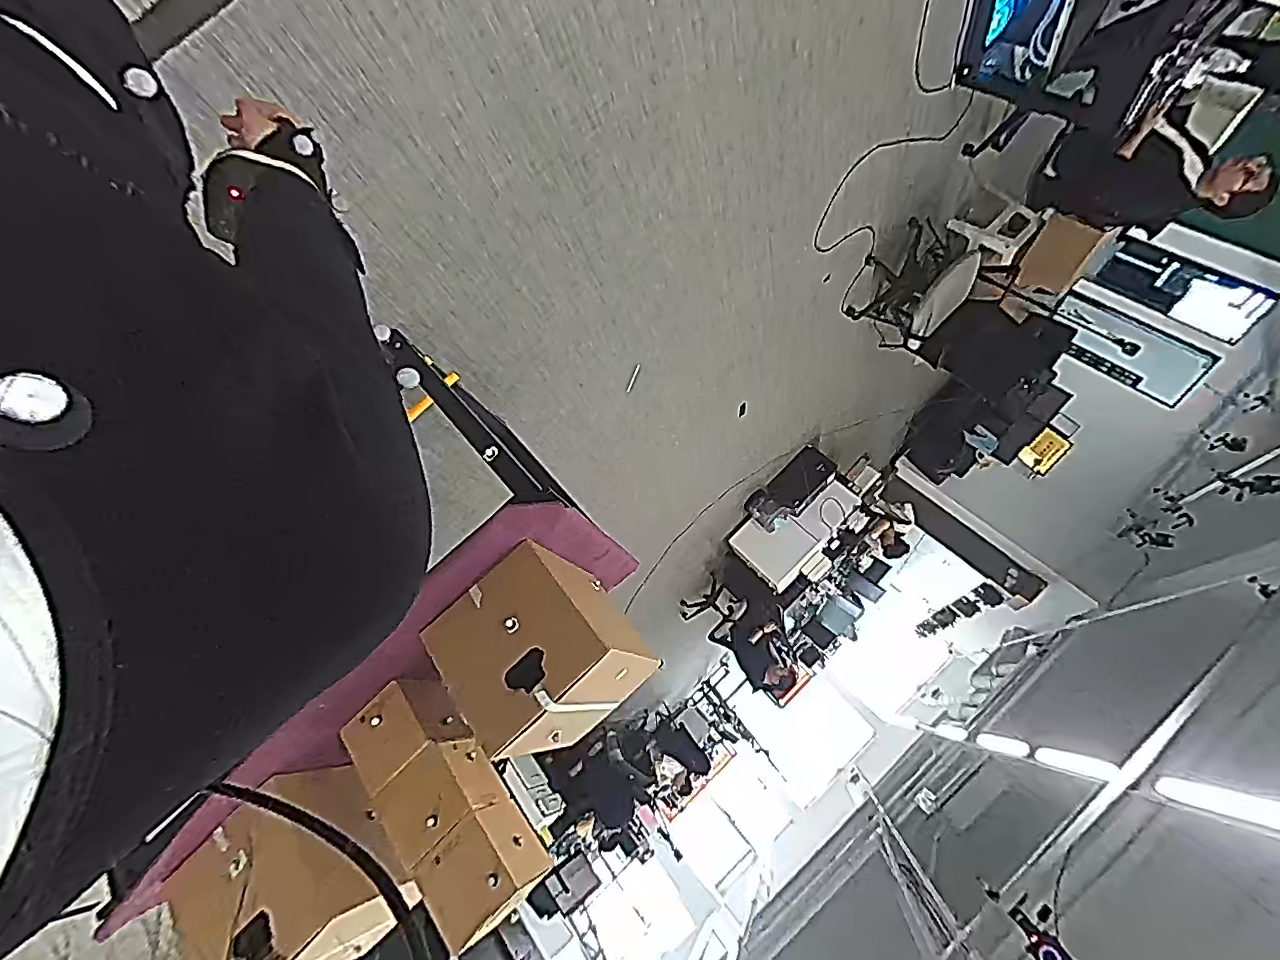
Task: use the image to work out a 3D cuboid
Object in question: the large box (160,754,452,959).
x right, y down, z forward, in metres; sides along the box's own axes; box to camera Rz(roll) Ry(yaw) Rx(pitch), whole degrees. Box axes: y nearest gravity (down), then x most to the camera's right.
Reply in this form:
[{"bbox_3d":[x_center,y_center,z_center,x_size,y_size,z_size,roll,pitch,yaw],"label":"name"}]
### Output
[{"bbox_3d":[-0.722,0.871,1.214,0.320,0.320,0.408,-44,154,-3],"label":"large box"}]
